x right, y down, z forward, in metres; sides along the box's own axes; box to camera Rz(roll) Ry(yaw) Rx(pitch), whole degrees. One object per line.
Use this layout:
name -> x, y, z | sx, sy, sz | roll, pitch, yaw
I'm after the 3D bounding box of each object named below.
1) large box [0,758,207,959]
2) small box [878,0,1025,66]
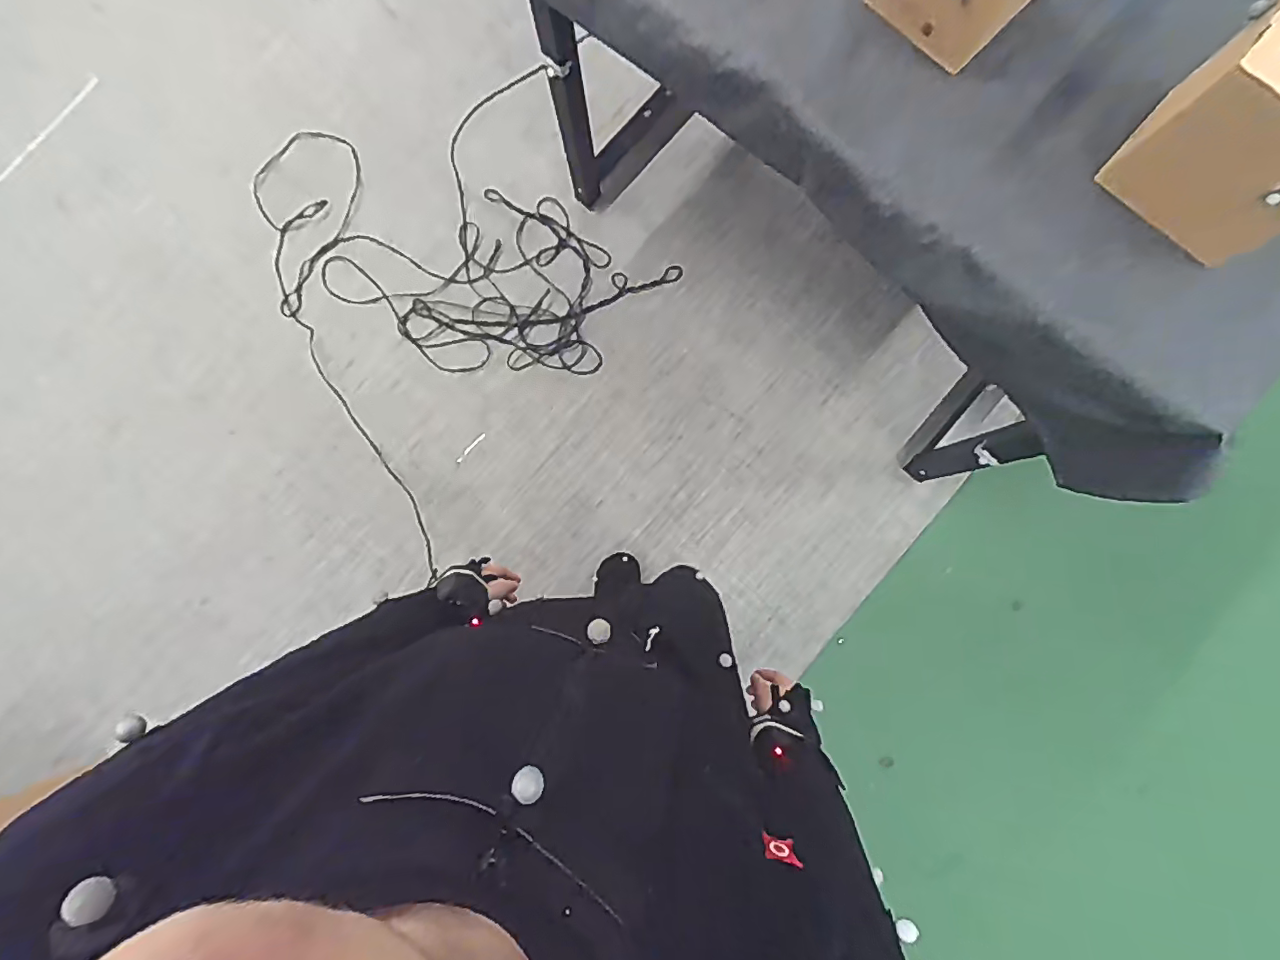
large box -> -1.282, 0.911, 1.164 | 0.320, 0.320, 0.408 | -44, 84, -3
small box -> 0.399, -0.643, 0.624 | 0.168, 0.176, 0.179 | 44, 86, 4
